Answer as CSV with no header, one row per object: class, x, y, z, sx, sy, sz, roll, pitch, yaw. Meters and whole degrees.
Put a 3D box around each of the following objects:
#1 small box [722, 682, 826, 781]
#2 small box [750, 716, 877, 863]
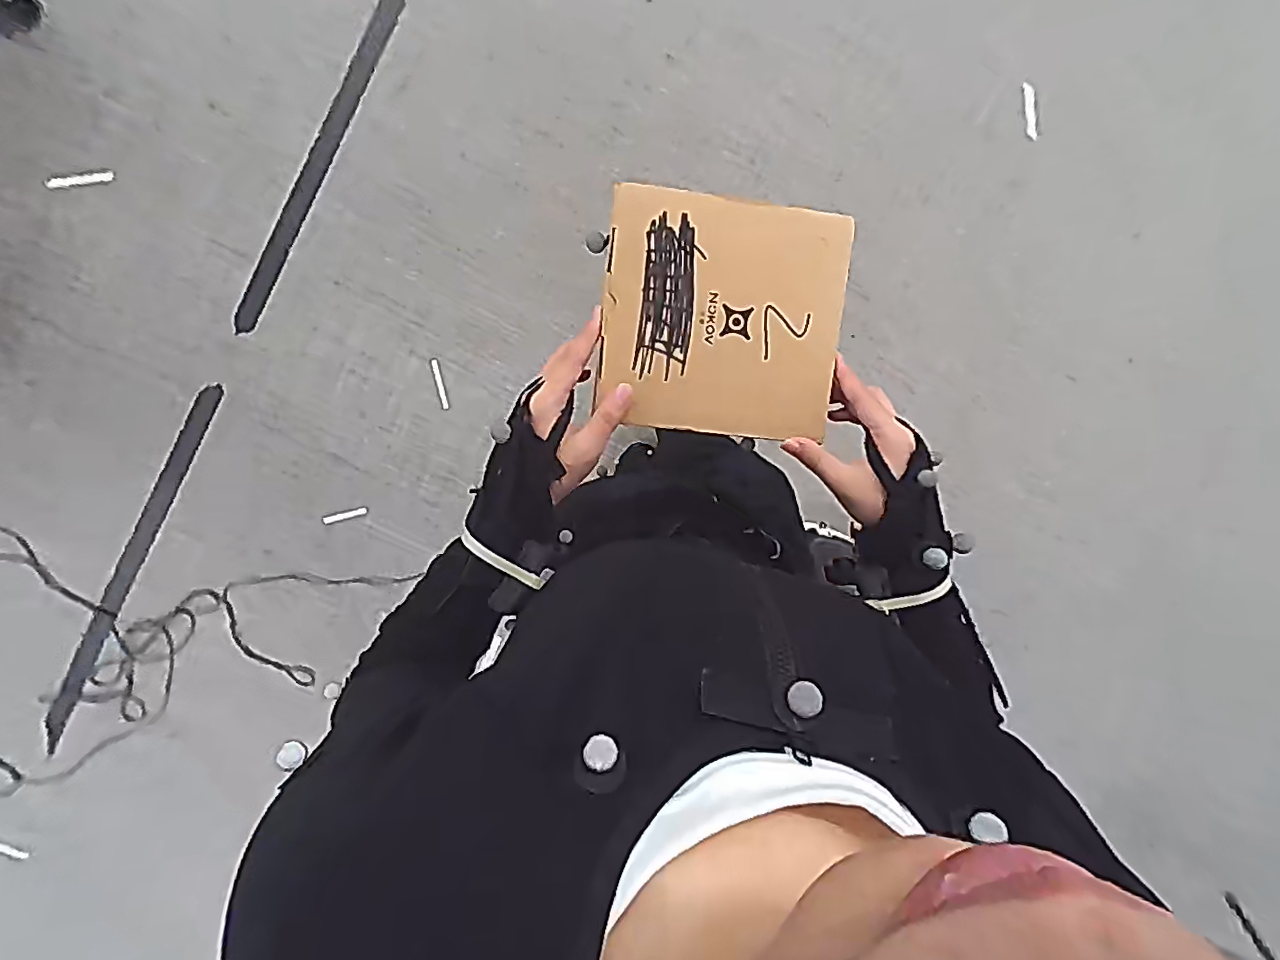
small box,0.323,0.620,1.304,0.179,0.176,0.168,25,95,-7
small box,0.352,0.644,1.143,0.168,0.176,0.179,31,93,-8
